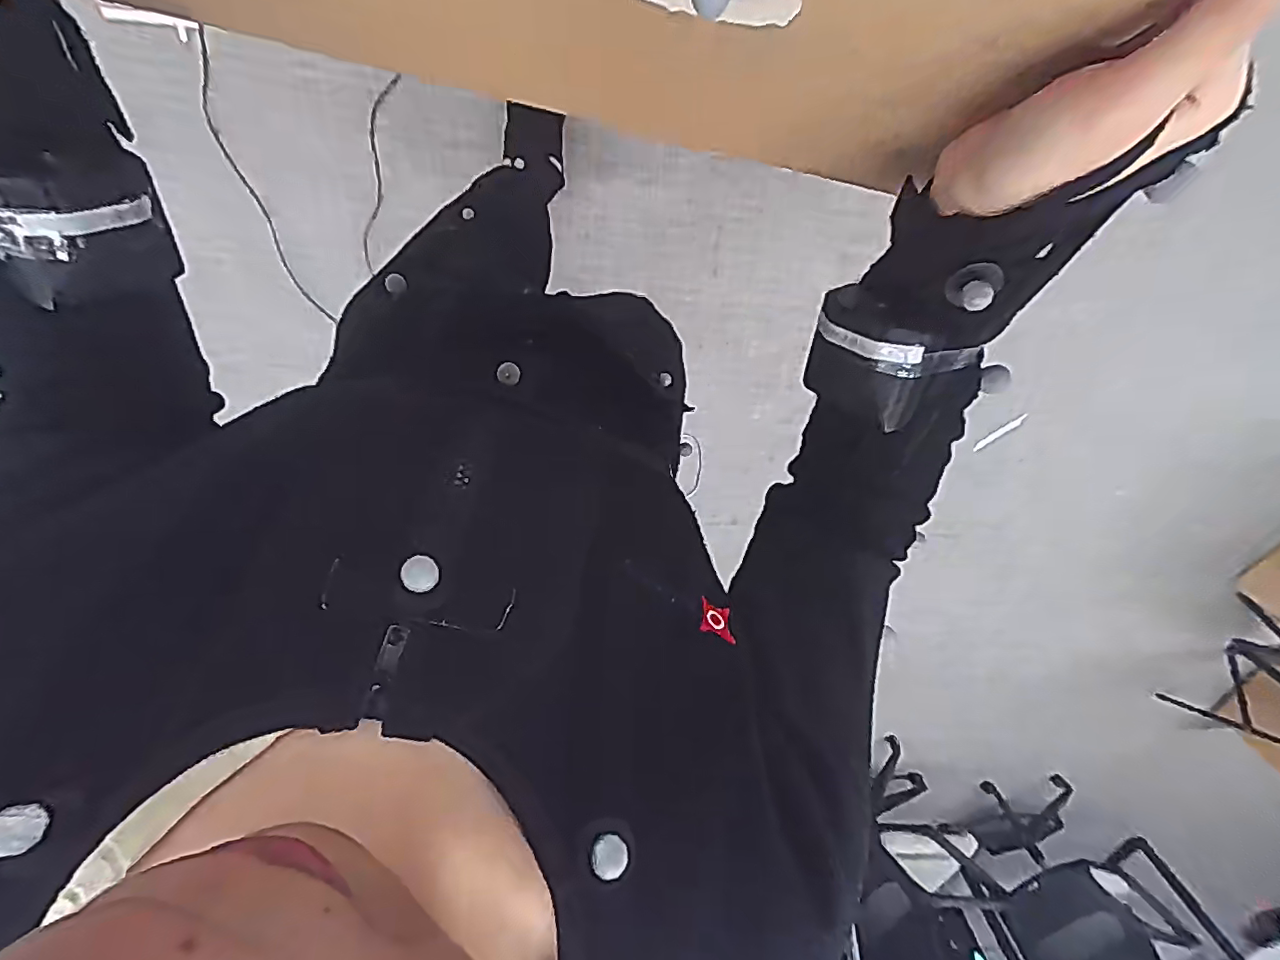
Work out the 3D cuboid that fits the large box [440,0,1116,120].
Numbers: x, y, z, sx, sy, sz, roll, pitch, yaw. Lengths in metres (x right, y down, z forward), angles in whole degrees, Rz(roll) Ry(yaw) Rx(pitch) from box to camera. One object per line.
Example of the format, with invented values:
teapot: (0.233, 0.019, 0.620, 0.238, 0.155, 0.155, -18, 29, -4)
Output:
large box: (0.001, -0.342, 0.087, 0.408, 0.320, 0.320, 9, 94, -6)
